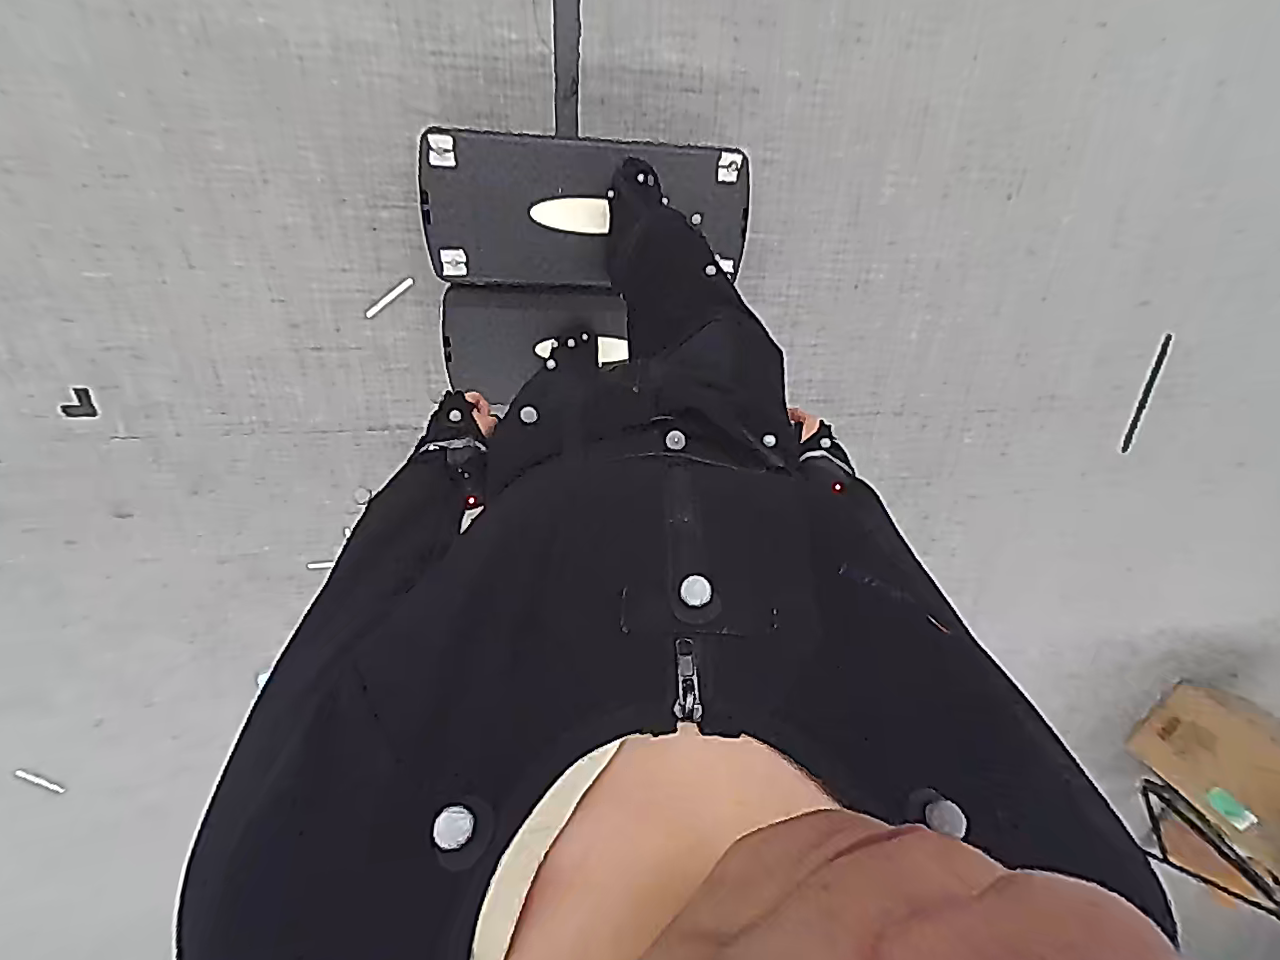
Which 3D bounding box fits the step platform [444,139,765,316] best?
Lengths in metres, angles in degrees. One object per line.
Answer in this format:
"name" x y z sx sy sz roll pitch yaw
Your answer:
"step platform" -0.073 -0.541 1.200 0.684 0.204 0.286 2 112 -12
